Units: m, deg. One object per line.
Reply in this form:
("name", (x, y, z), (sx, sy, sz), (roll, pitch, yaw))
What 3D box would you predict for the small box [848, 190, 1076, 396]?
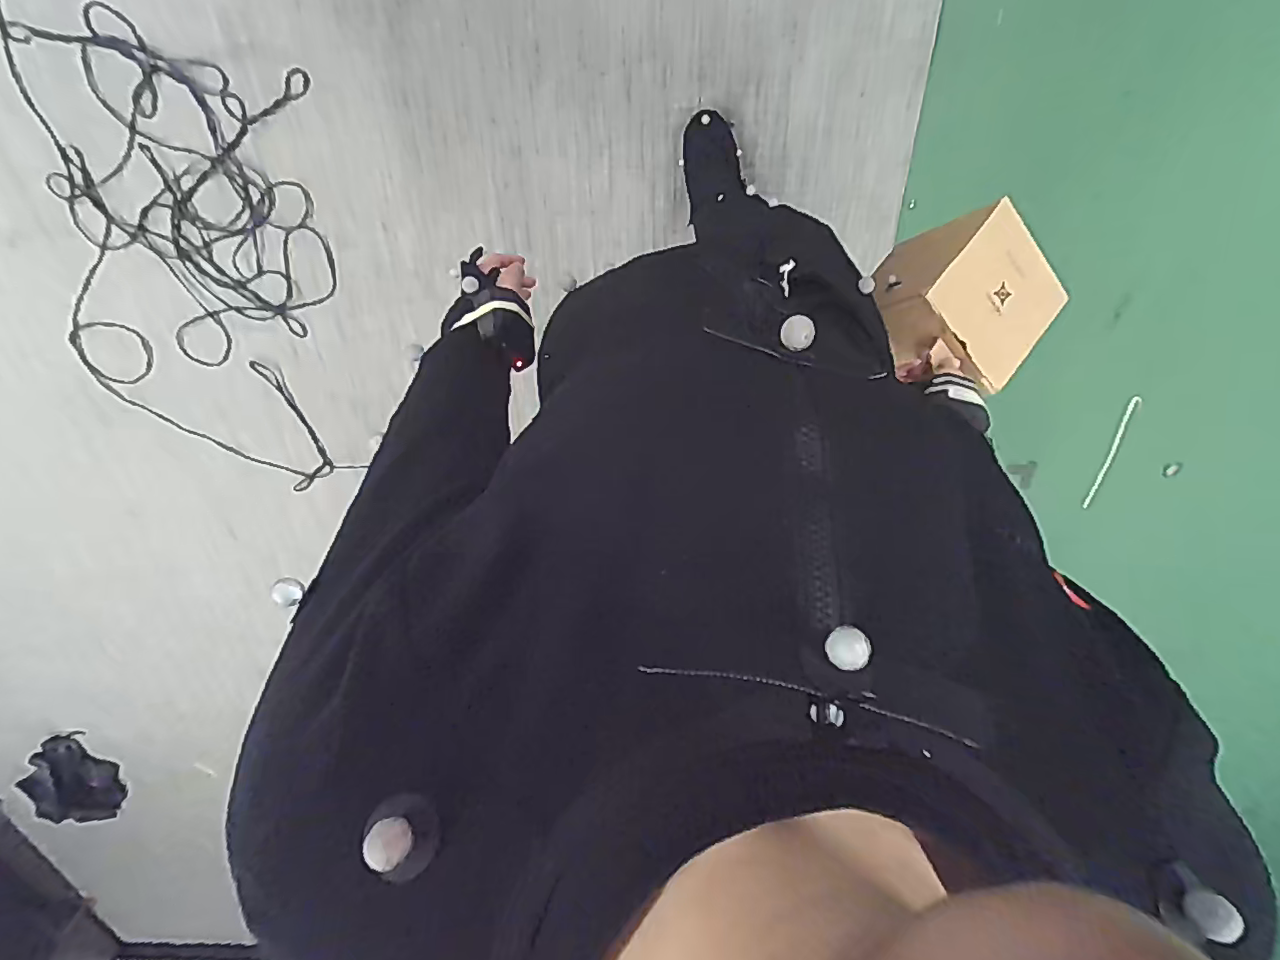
("small box", (0.408, -0.228, 0.714), (0.168, 0.176, 0.179), (43, 80, -17))
